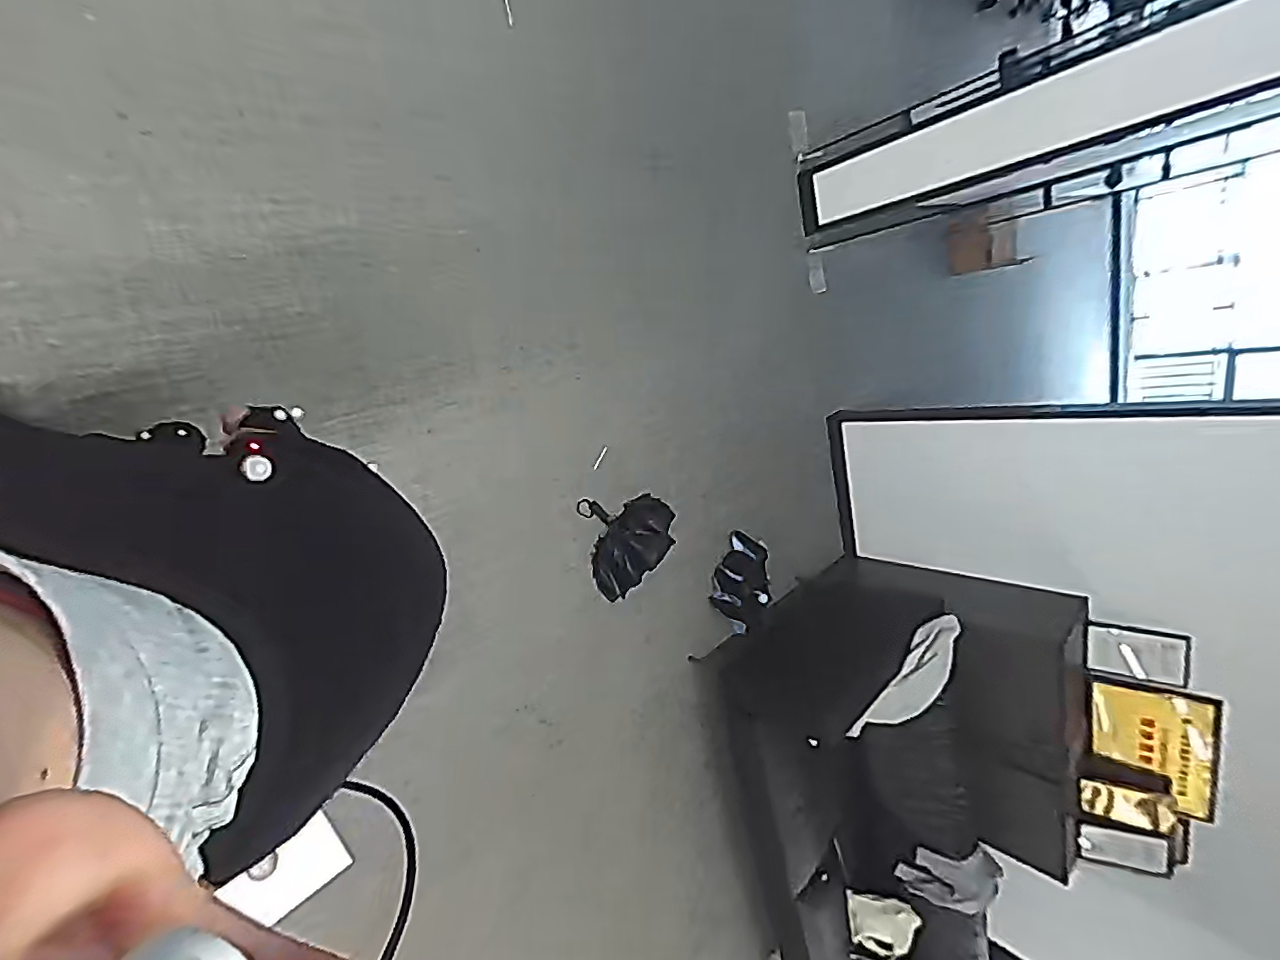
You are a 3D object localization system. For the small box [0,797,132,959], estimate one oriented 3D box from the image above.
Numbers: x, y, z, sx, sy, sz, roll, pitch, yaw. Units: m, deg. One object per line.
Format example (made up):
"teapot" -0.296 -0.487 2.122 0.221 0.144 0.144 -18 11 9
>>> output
"small box" -0.741 0.512 0.630 0.168 0.176 0.179 -29 115 -34
